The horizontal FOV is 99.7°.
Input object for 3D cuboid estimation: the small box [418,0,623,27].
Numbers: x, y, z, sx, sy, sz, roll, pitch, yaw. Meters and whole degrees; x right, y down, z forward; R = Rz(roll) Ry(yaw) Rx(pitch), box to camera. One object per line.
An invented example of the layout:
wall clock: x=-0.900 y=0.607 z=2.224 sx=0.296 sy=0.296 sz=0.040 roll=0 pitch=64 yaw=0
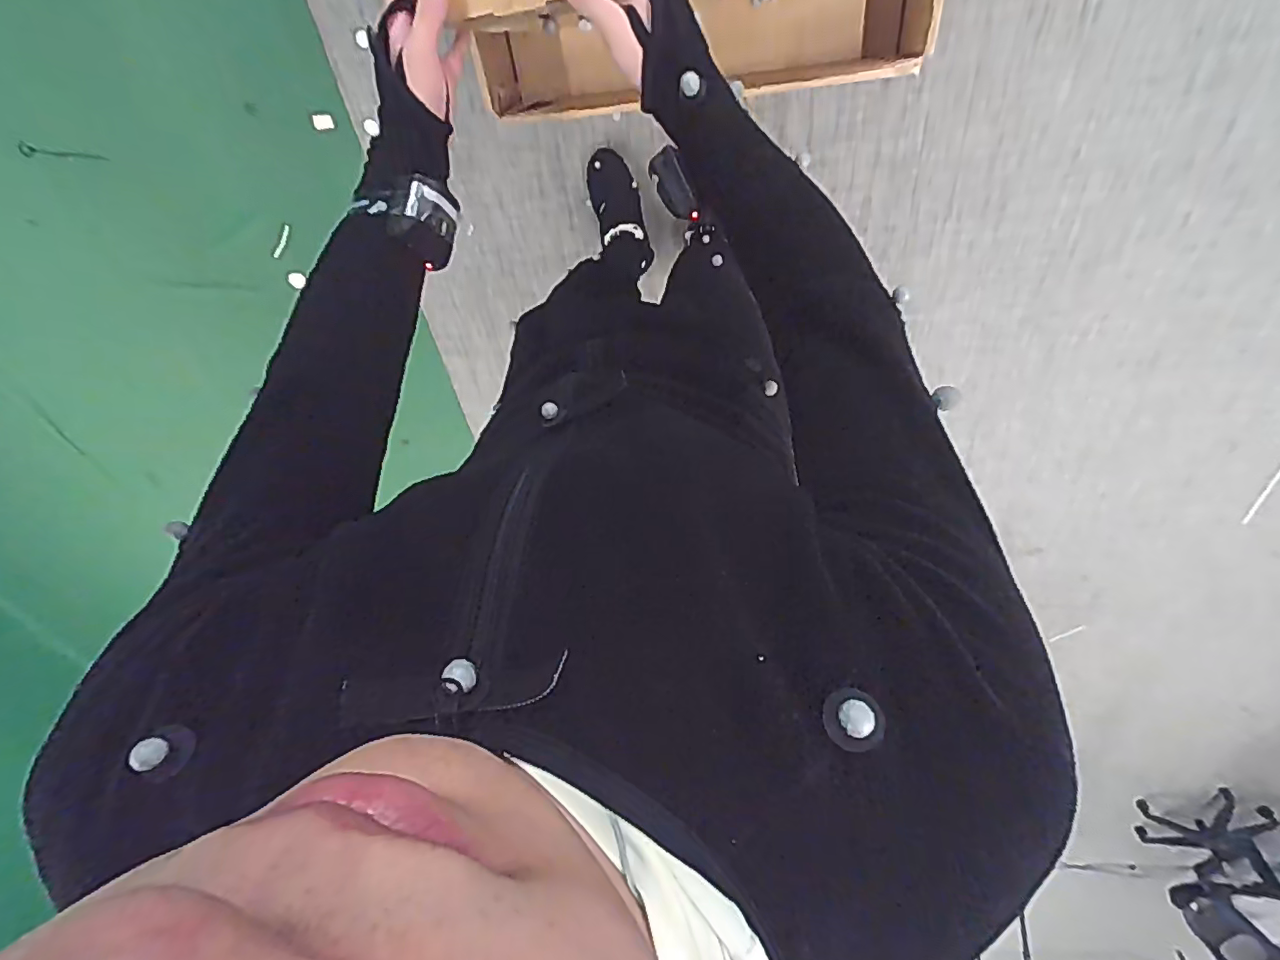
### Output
small box: x=-0.104 y=-0.501 z=0.447 sx=0.168 sy=0.176 sz=0.179 roll=-3 pitch=129 yaw=10

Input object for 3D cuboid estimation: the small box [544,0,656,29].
small box: x=-0.074 y=-0.706 z=0.703 sx=0.179 sy=0.176 sz=0.168 roll=-3 pitch=129 yaw=8

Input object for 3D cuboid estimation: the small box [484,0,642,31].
small box: x=-0.089 y=-0.602 z=0.577 sx=0.179 sy=0.176 sz=0.168 roll=-5 pitch=128 yaw=9
